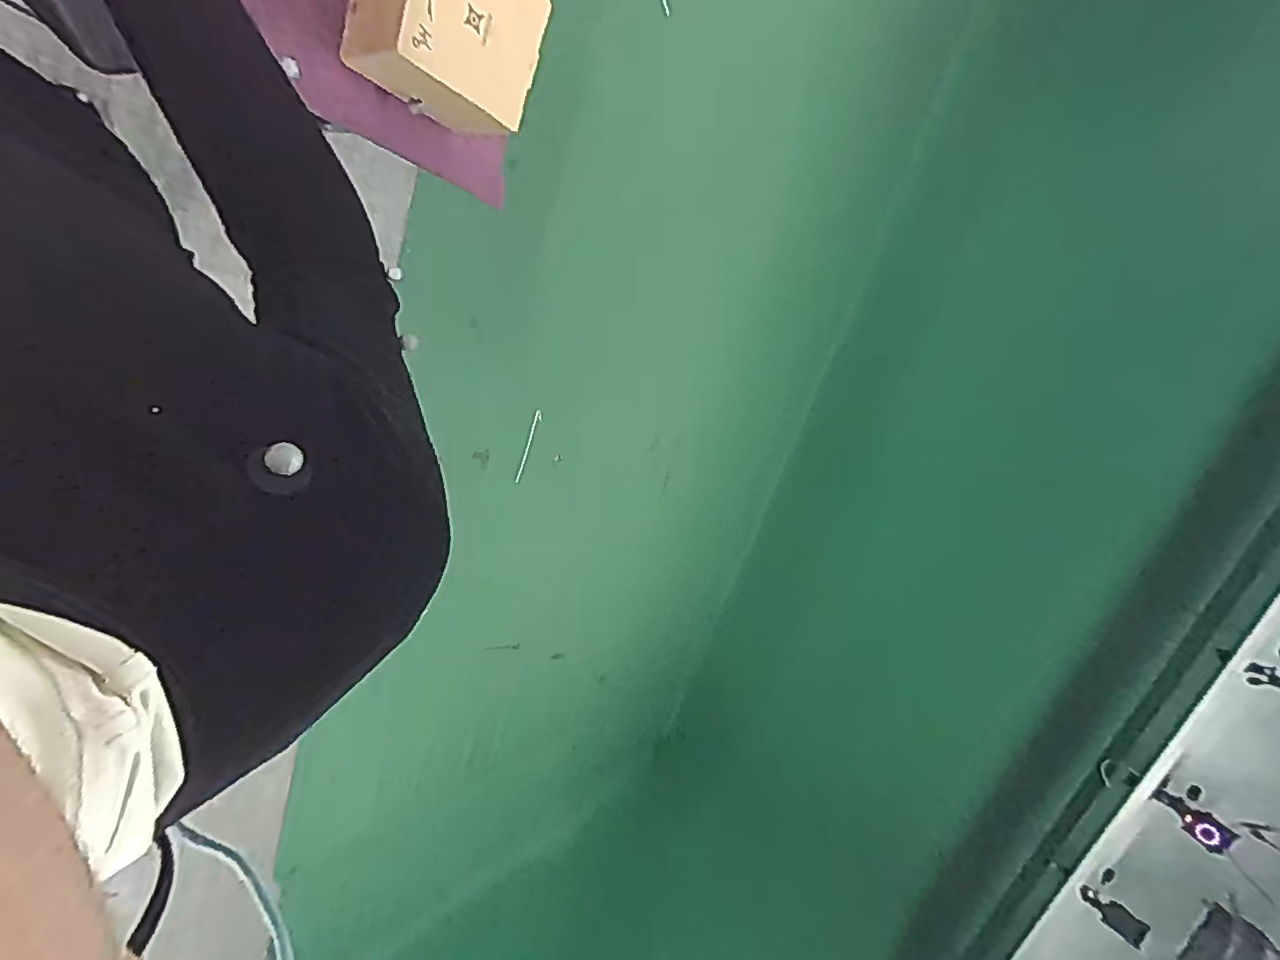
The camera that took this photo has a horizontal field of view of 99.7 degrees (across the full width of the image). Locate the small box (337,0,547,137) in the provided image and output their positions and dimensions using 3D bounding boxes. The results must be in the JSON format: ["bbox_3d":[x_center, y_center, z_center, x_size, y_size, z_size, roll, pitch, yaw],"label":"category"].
[{"bbox_3d":[-0.259,-0.584,0.708,0.179,0.176,0.168,4,109,-52],"label":"small box"}]
